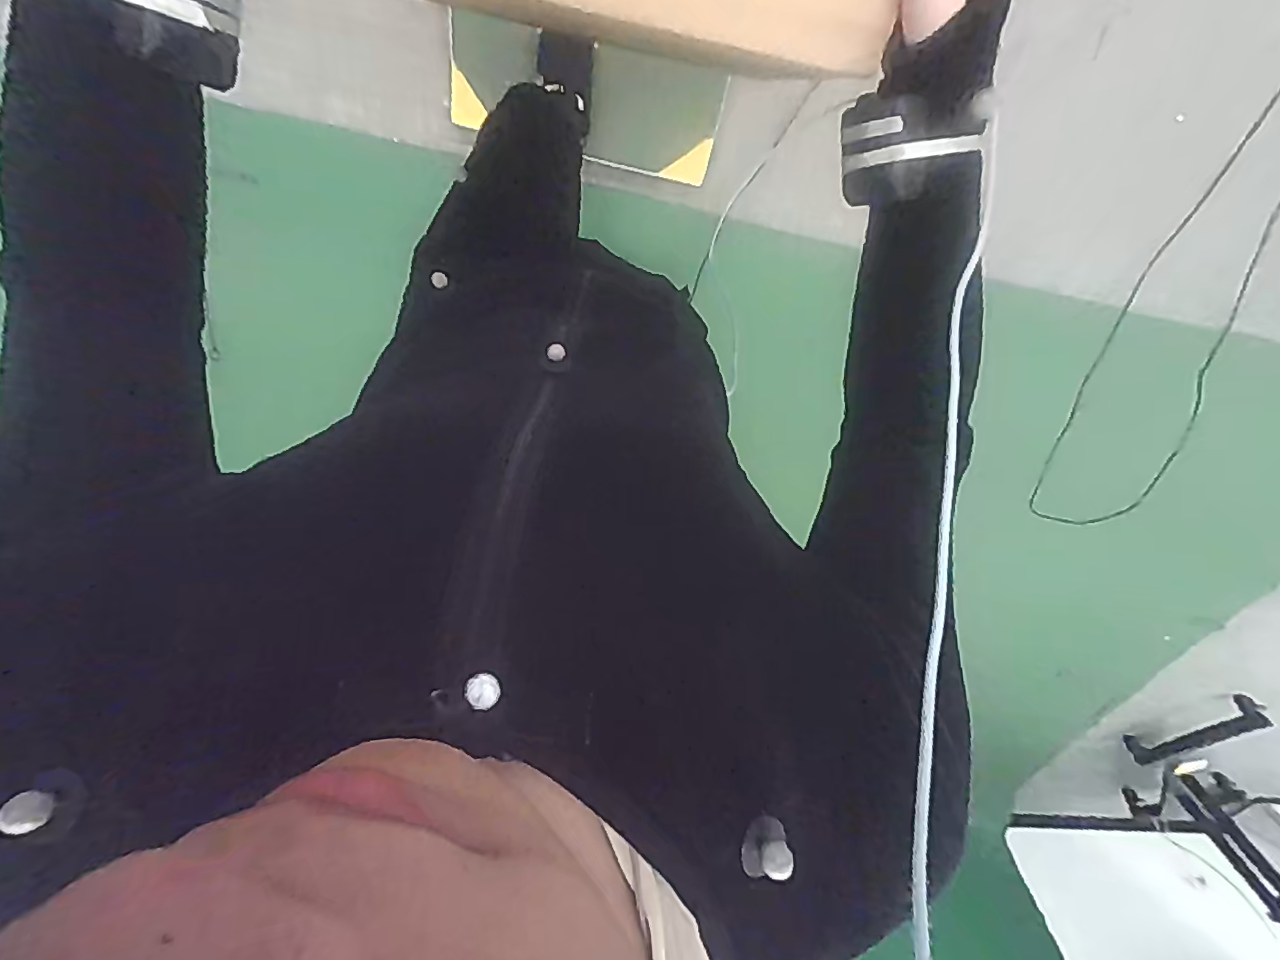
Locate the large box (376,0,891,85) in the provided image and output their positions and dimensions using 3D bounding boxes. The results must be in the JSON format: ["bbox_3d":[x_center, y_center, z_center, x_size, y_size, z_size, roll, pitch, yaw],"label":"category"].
[{"bbox_3d":[-0.025,-0.499,0.373,0.408,0.320,0.320,7,126,-8],"label":"large box"}]
